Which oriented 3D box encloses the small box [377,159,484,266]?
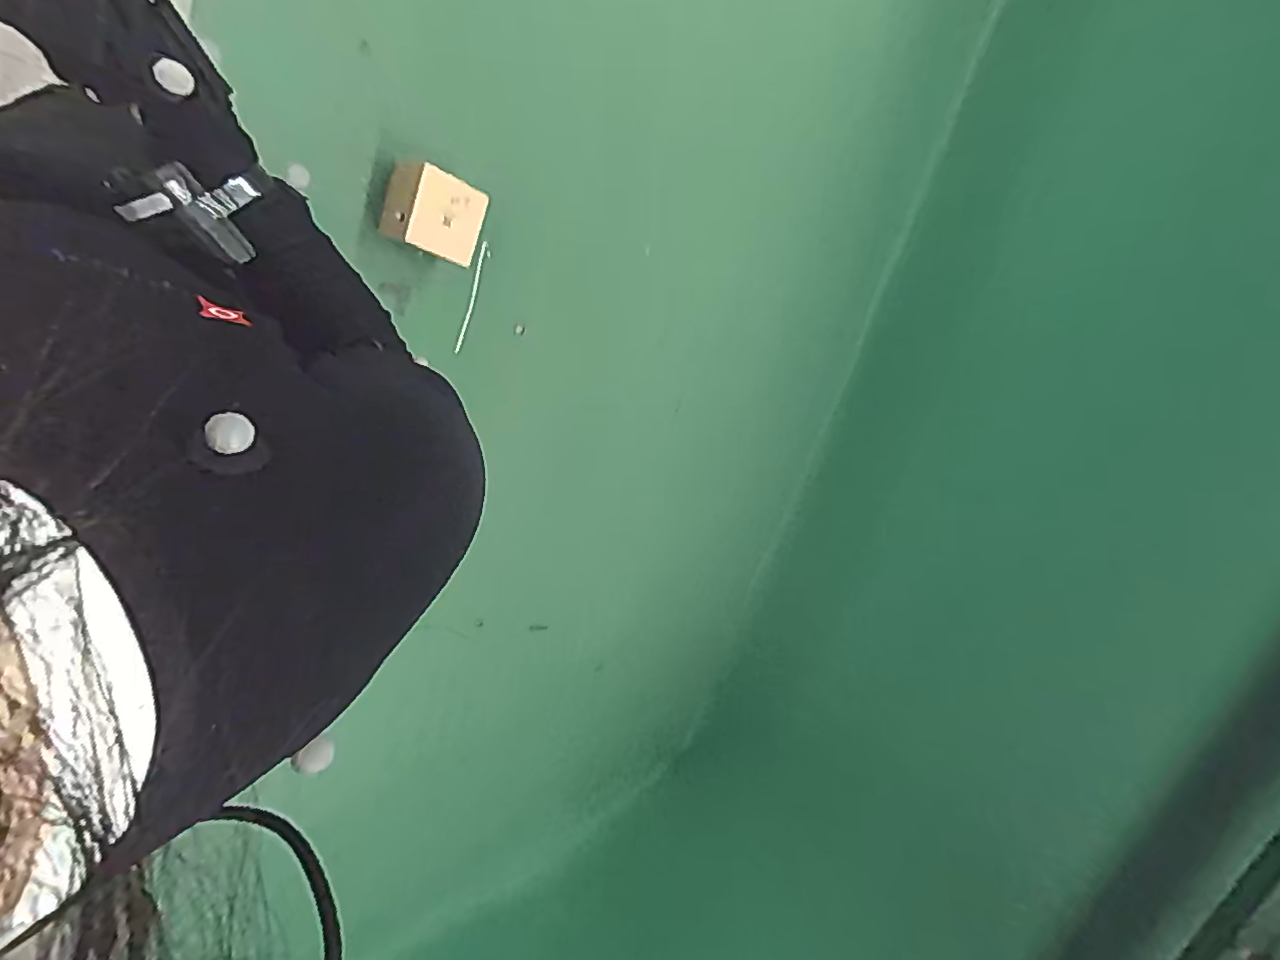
[{"bbox_3d":[-0.513,-0.646,1.309,0.168,0.176,0.179,8,106,-50],"label":"small box"}]
